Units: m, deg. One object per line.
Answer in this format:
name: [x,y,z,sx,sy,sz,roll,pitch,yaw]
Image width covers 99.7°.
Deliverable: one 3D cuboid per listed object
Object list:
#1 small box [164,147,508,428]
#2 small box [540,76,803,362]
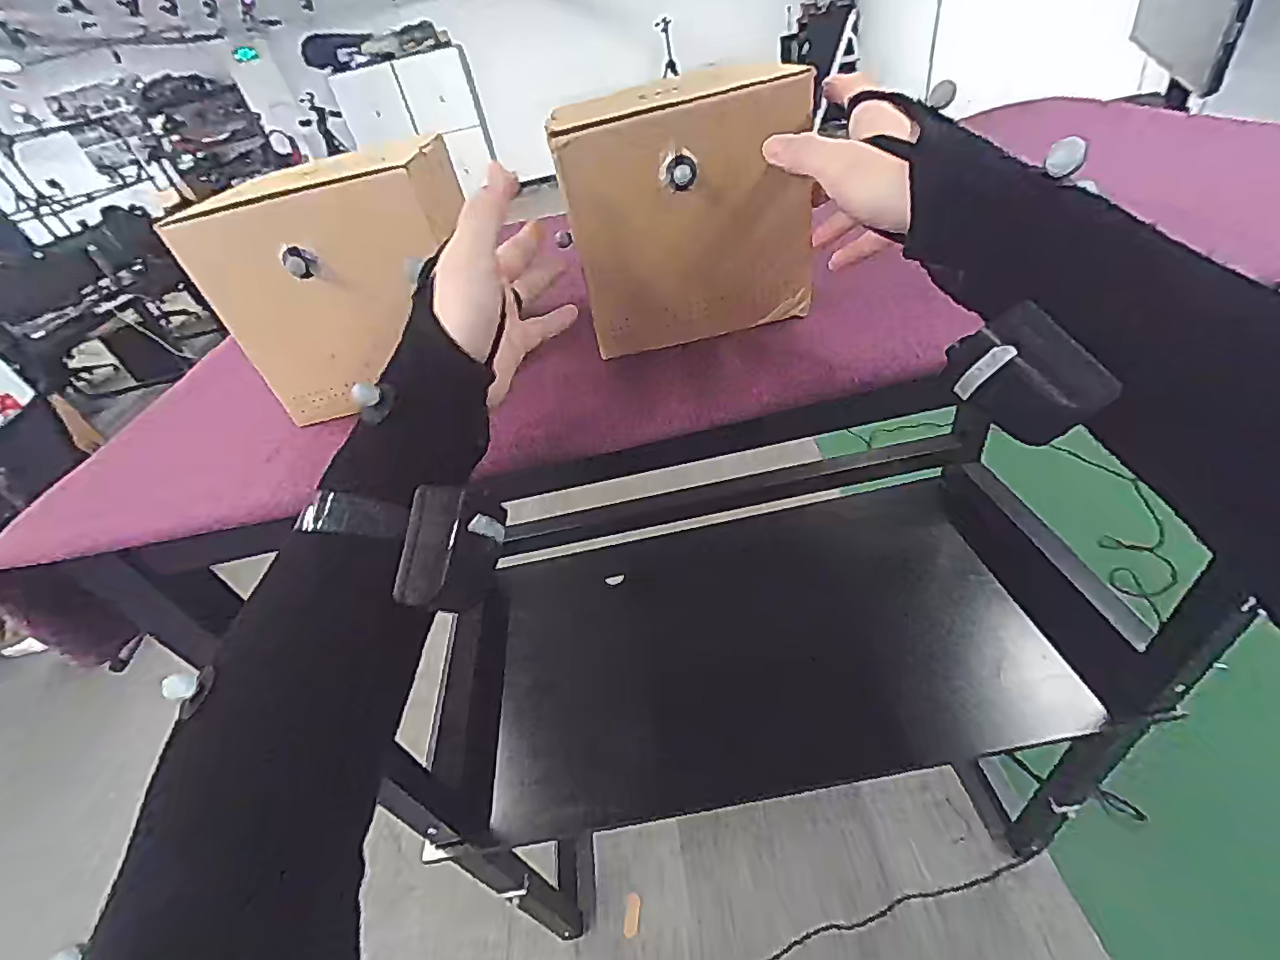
small box: [-0.234,-0.166,0.474,0.179,0.176,0.168,-14,40,1]
small box: [0.029,-0.217,0.456,0.179,0.176,0.168,-12,39,3]
